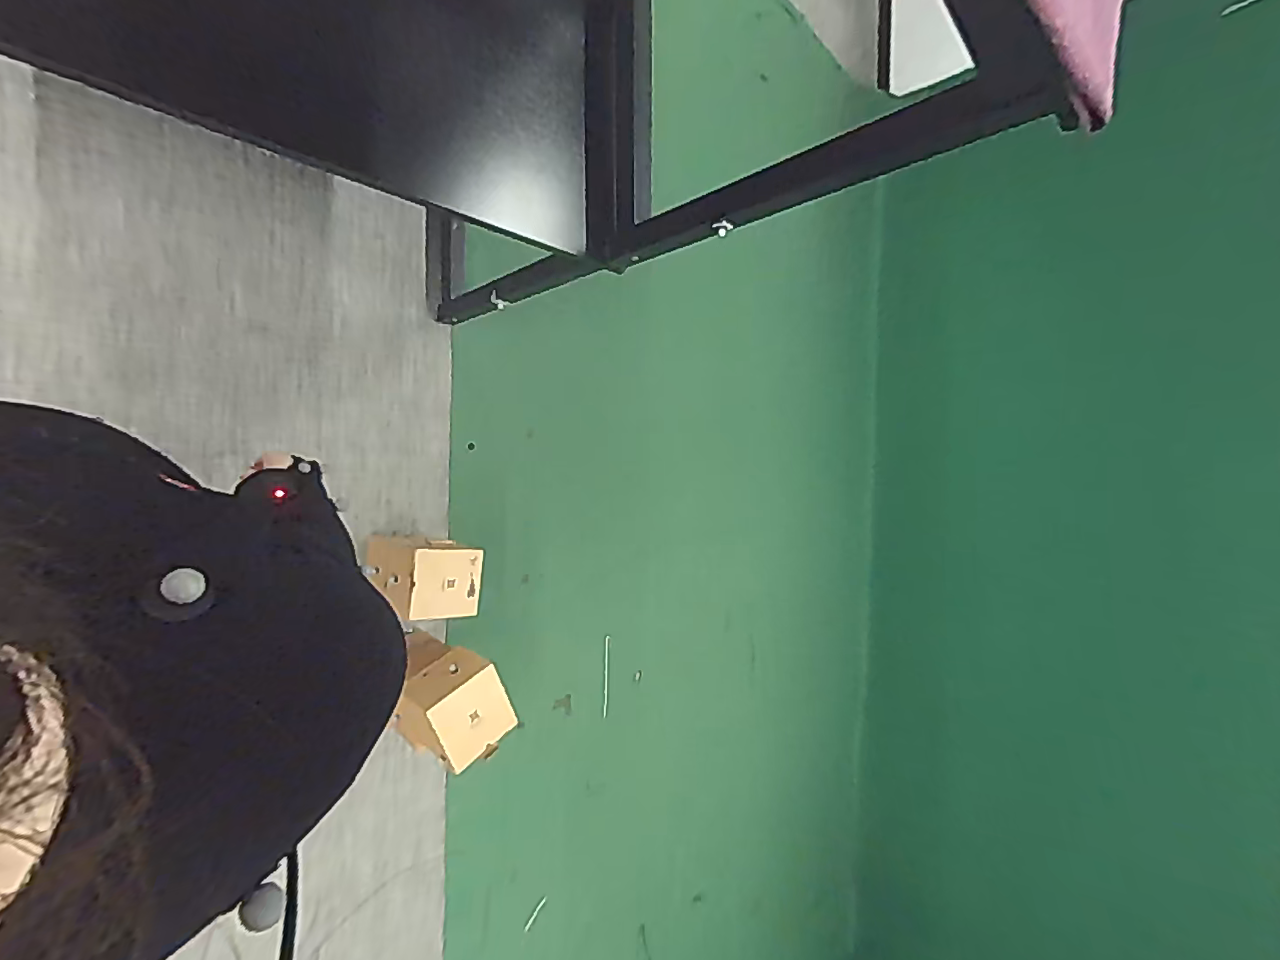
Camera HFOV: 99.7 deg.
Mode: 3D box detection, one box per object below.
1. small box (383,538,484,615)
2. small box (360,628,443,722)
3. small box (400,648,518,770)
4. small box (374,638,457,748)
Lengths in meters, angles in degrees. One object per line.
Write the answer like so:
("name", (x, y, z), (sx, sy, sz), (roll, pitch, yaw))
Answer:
("small box", (-0.515, 0.236, 1.339), (0.179, 0.176, 0.168), (9, 85, -45))
("small box", (-0.639, 0.515, 1.462), (0.168, 0.176, 0.179), (-10, 100, -44))
("small box", (-0.414, 0.505, 1.227), (0.168, 0.176, 0.179), (-32, 115, -38))
("small box", (-0.532, 0.513, 1.340), (0.168, 0.176, 0.179), (-26, 111, -39))
